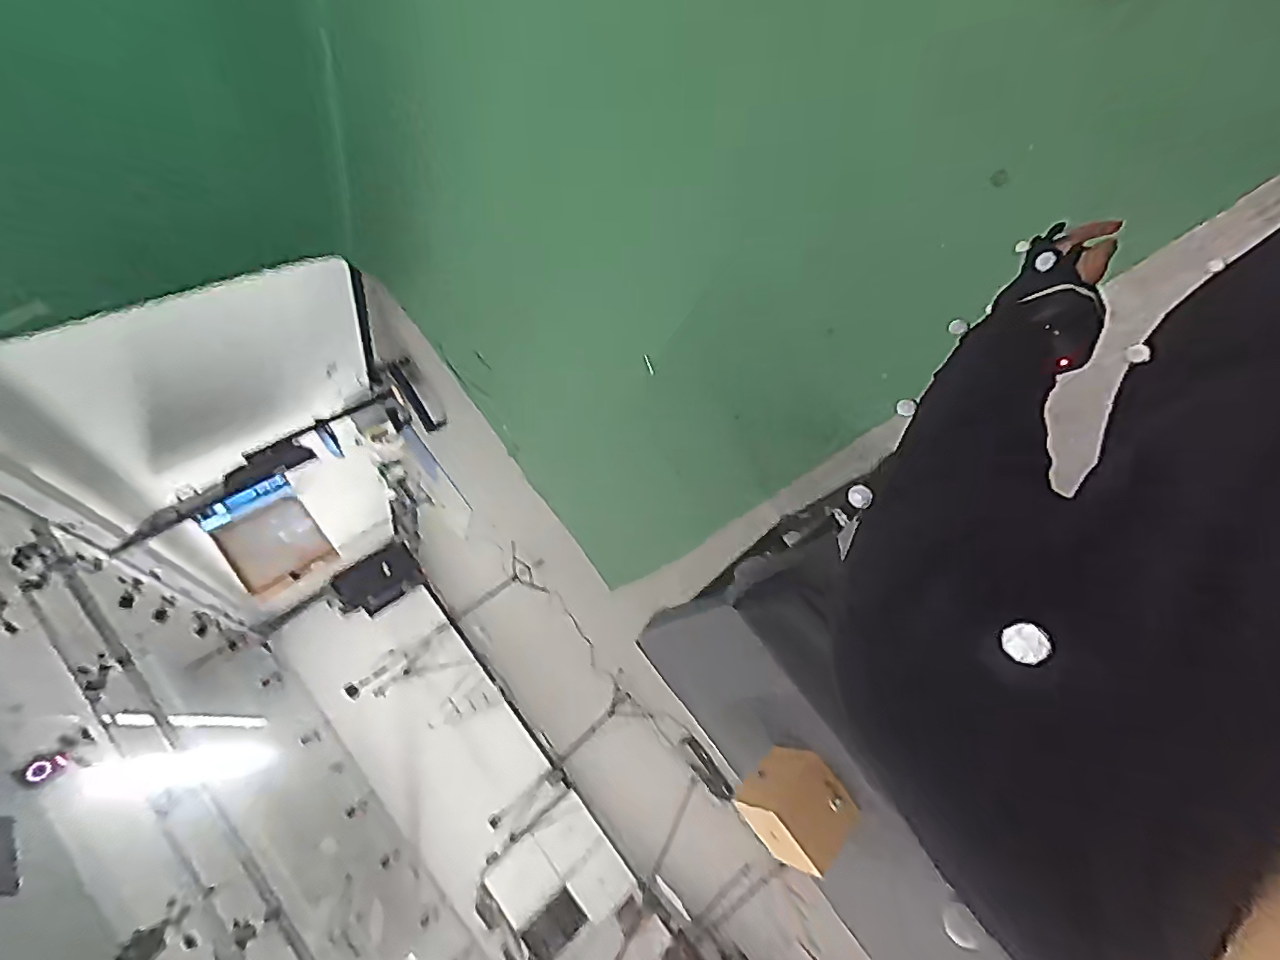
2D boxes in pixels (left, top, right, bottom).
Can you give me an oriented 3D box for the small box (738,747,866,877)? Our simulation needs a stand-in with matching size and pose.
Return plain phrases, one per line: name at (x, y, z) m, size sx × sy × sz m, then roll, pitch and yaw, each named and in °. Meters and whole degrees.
small box at (0.357, 0.718, 1.194) m, size 0.168 × 0.176 × 0.179 m, roll 51°, pitch 149°, yaw 5°
